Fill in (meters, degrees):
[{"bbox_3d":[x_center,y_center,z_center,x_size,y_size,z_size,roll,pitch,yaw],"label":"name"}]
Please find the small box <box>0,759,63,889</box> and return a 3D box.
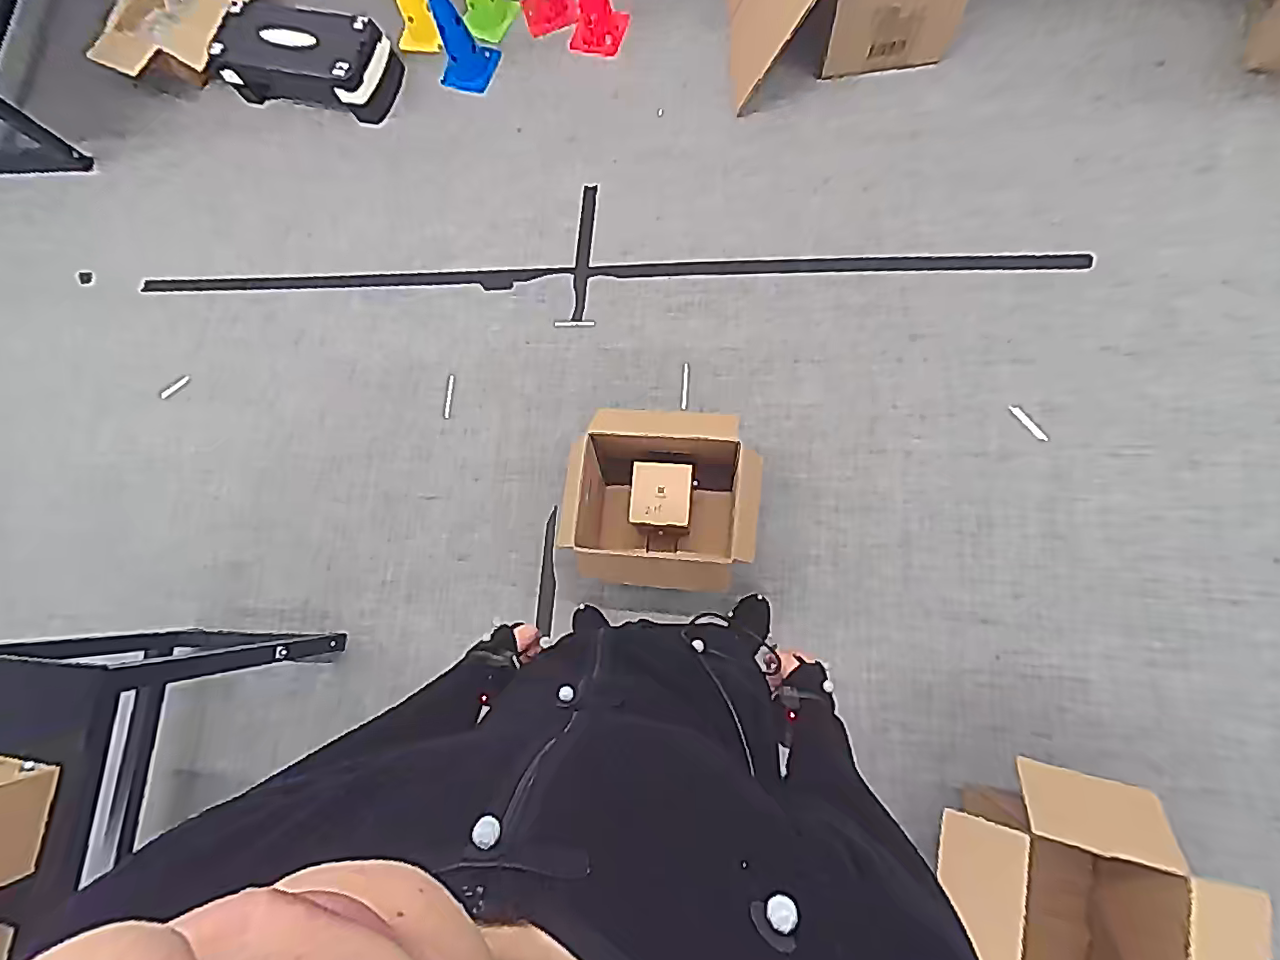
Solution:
[{"bbox_3d":[-1.143,0.593,0.908,0.168,0.176,0.179,4,81,9],"label":"small box"}]
